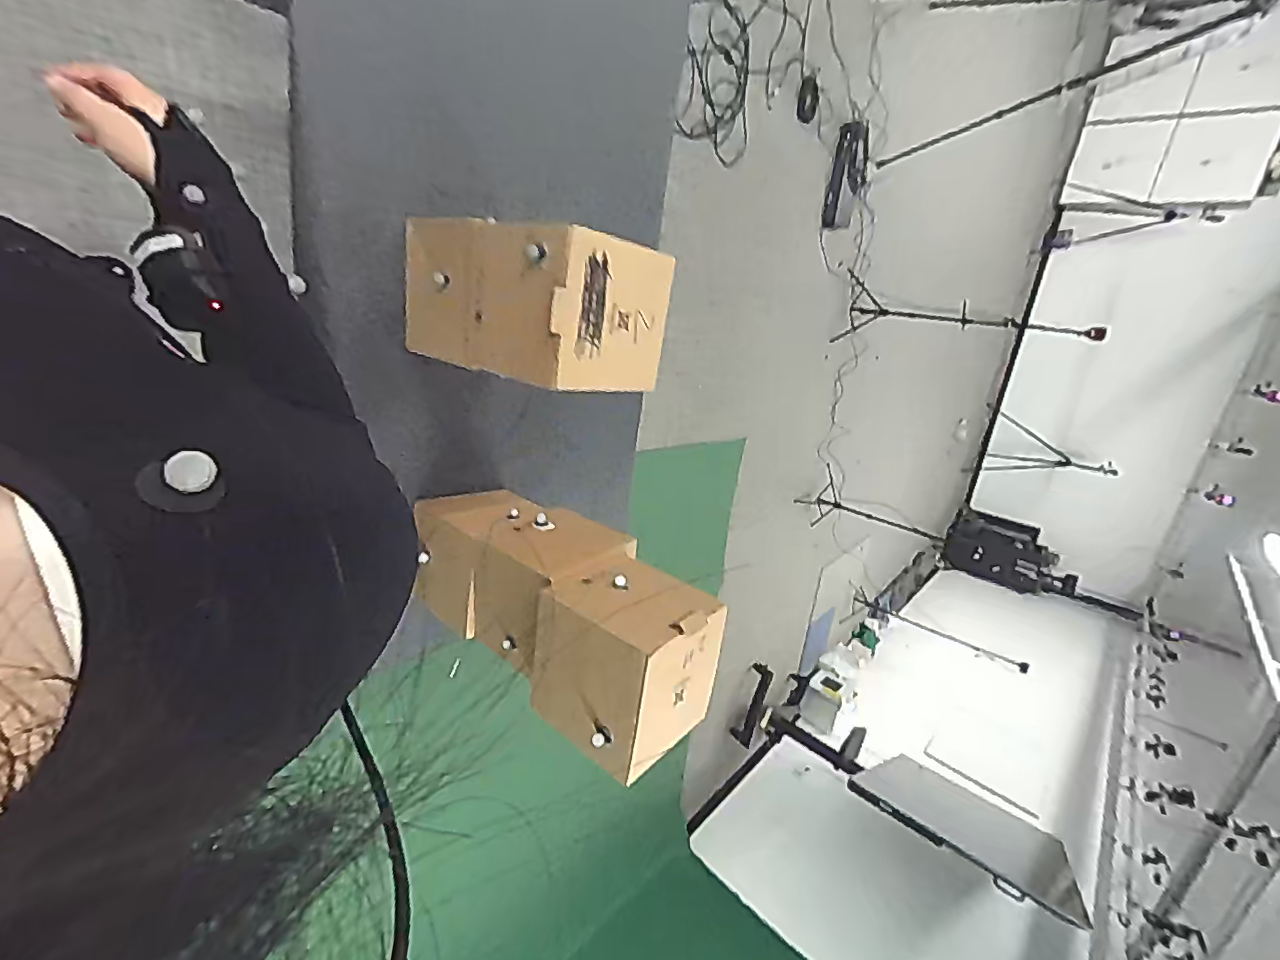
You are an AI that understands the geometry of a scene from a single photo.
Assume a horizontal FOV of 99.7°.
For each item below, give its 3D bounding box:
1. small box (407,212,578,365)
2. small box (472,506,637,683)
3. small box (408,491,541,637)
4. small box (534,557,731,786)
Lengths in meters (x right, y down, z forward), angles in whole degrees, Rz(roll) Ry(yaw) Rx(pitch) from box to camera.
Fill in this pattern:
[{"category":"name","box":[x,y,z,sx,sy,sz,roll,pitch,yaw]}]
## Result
[{"category":"small box","box":[-0.208,-0.259,0.753,0.168,0.176,0.179,-12,115,-48]},{"category":"small box","box":[-0.124,0.158,0.779,0.168,0.176,0.179,-20,120,-48]},{"category":"small box","box":[-0.248,0.123,0.878,0.179,0.176,0.168,-8,112,-50]},{"category":"small box","box":[-0.014,0.219,0.670,0.168,0.176,0.179,-13,116,-51]}]
